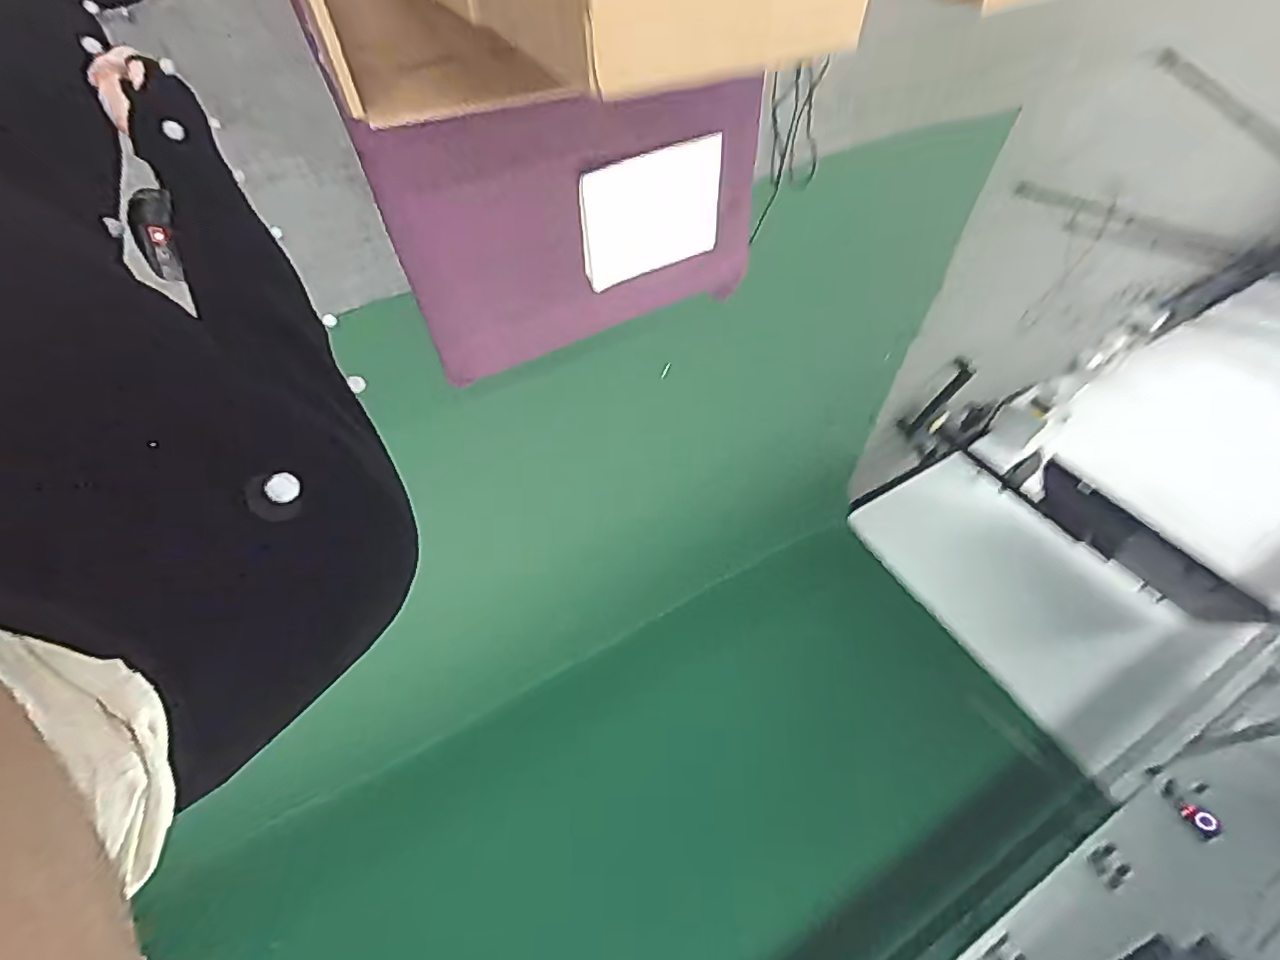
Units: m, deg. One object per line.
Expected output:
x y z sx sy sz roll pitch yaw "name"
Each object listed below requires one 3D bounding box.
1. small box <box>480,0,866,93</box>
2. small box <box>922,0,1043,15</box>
0.013 -0.325 0.270 0.179 0.176 0.168 -23 146 -19 "small box"
0.250 -0.437 0.348 0.179 0.176 0.168 -23 146 -14 "small box"
